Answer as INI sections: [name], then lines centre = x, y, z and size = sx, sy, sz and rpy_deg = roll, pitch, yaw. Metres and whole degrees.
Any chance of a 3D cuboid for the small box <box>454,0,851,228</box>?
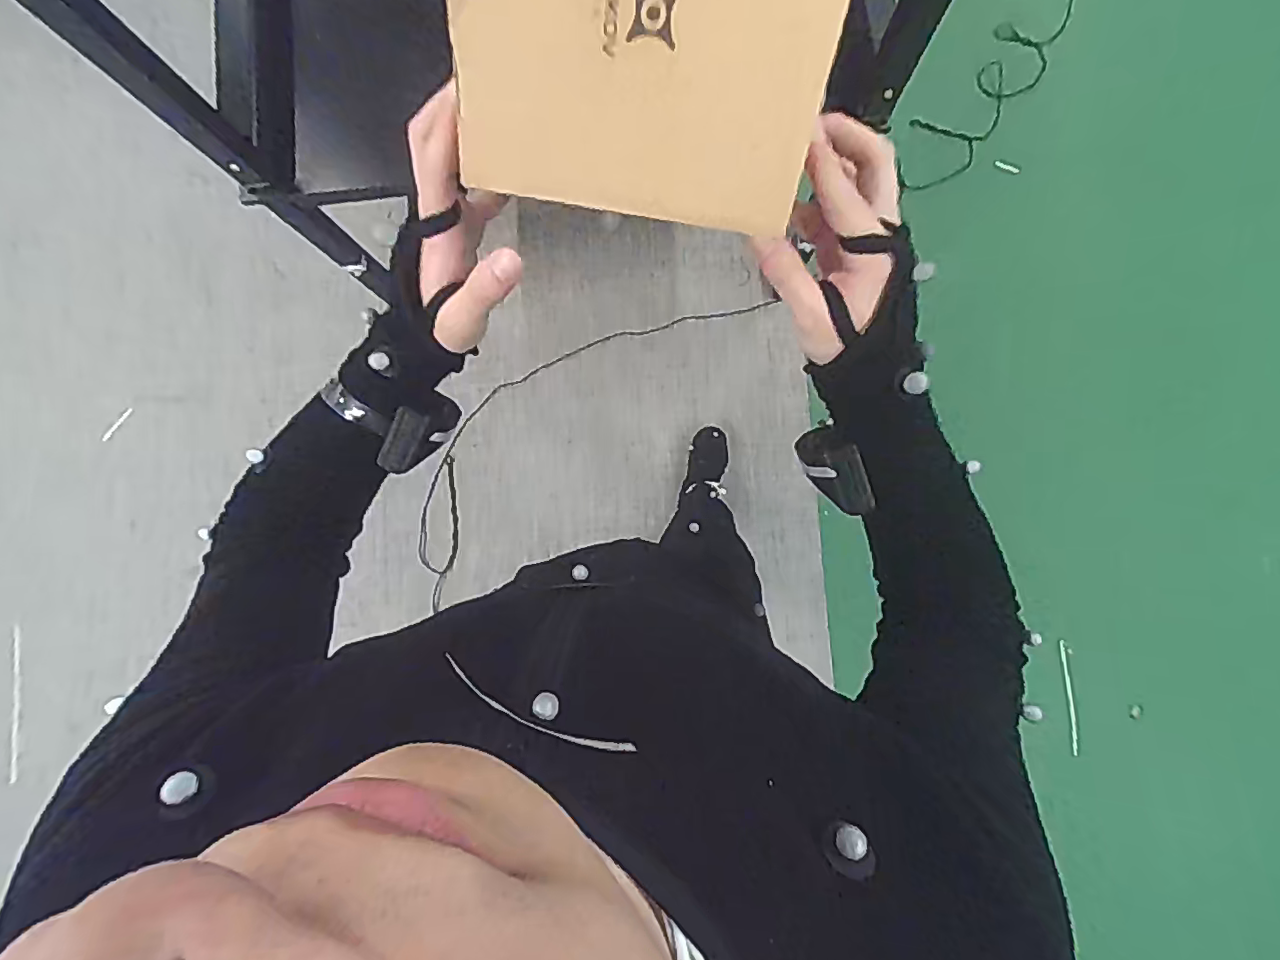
[small box]
centre = 0.011, -0.258, 0.298
size = 0.179, 0.176, 0.168
rpy_deg = 9, 129, 1
